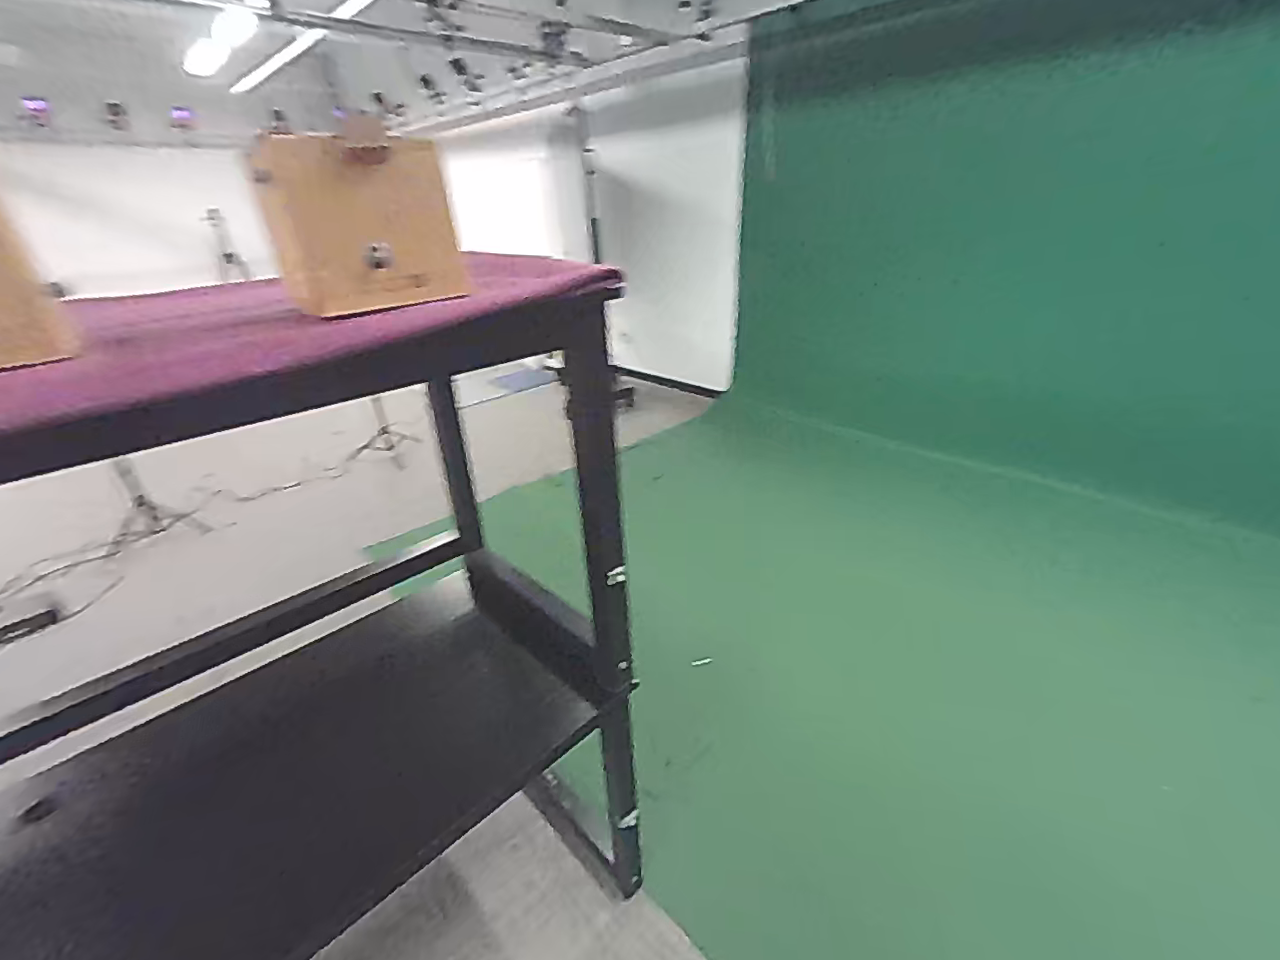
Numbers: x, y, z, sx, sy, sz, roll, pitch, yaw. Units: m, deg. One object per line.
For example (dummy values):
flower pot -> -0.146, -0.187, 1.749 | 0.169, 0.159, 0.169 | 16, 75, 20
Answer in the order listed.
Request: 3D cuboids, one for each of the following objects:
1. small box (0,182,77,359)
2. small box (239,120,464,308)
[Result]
small box -> -0.593, -0.173, 0.413 | 0.179, 0.176, 0.168 | -24, 33, -36
small box -> -0.326, -0.297, 0.622 | 0.168, 0.176, 0.179 | -25, 33, -33
